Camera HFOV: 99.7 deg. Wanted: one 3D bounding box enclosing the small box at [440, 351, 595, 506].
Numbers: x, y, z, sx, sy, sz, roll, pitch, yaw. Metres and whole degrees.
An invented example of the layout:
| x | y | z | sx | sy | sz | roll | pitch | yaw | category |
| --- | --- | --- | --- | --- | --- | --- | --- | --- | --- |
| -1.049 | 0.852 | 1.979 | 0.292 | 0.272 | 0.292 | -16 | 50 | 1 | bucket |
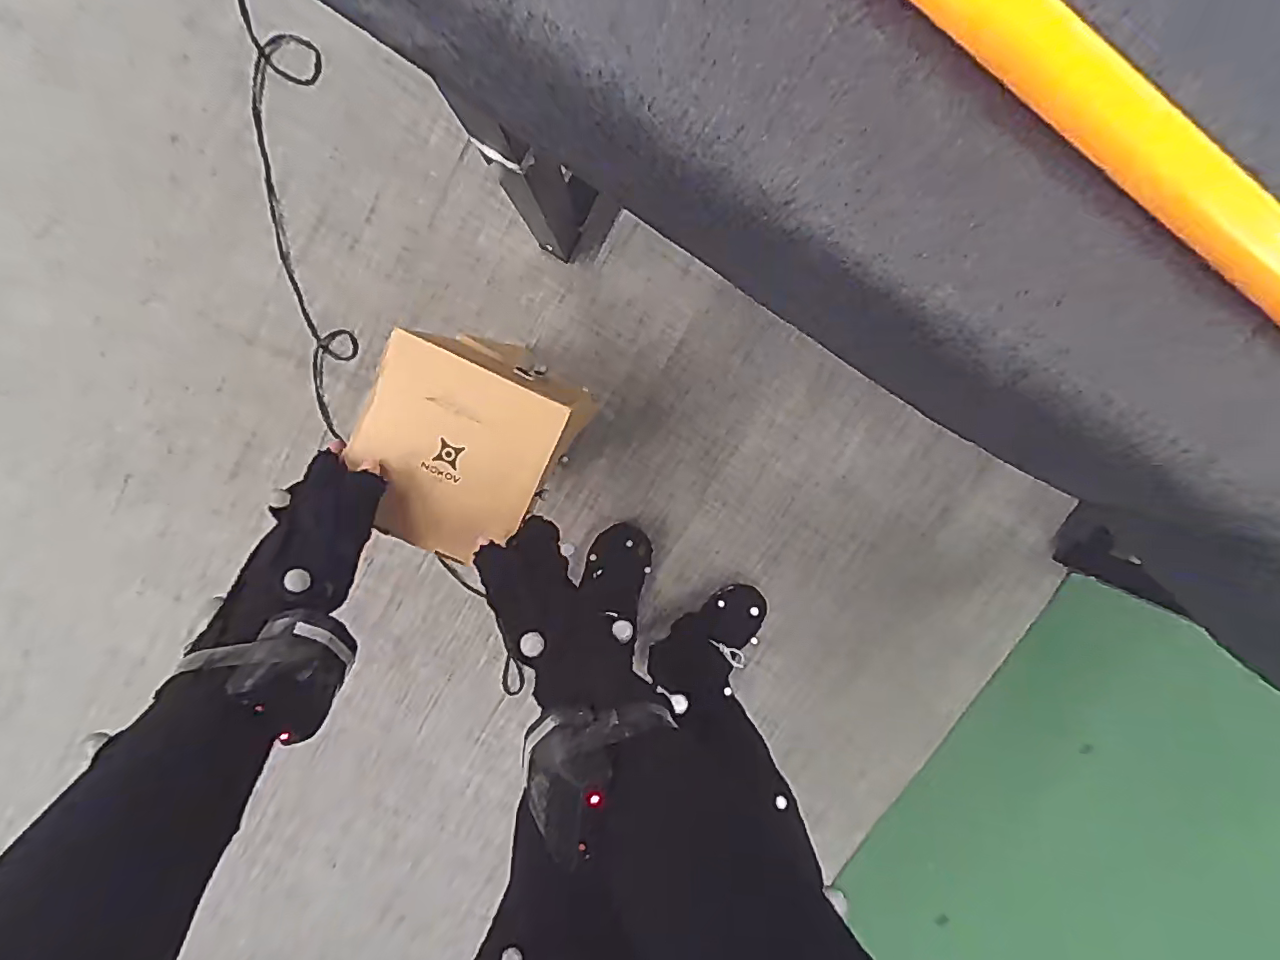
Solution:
| x | y | z | sx | sy | sz | roll | pitch | yaw | category |
| --- | --- | --- | --- | --- | --- | --- | --- | --- | --- |
| -0.187 | -0.089 | 0.879 | 0.168 | 0.176 | 0.179 | 37 | 98 | -8 | small box |
